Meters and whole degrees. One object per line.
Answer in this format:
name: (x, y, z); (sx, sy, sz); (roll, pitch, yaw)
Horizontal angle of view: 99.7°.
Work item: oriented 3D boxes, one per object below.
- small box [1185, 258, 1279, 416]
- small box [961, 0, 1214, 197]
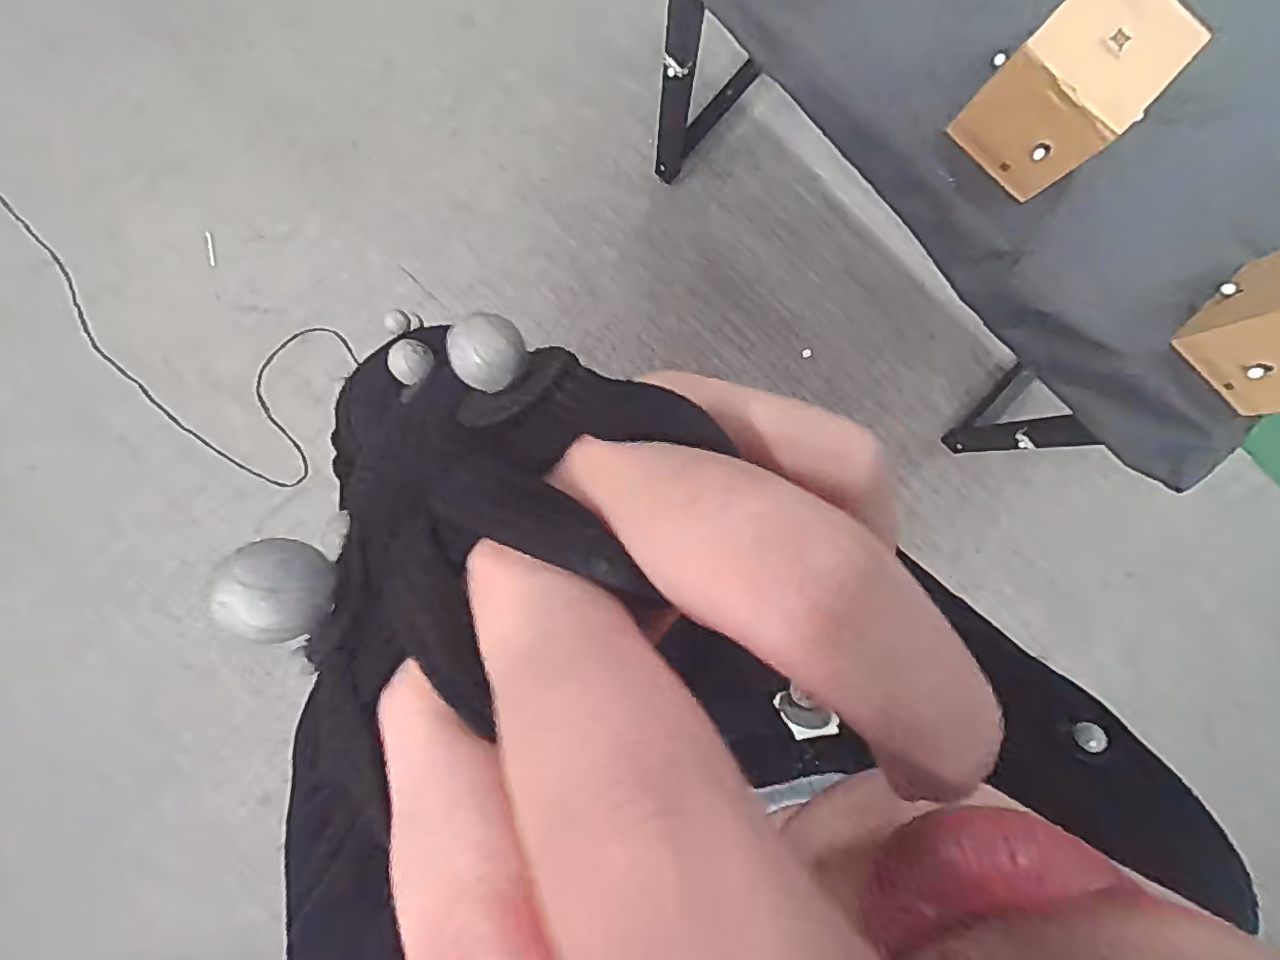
small box: (0.923, -0.208, 0.741); (0.179, 0.176, 0.168); (-44, 89, 0)
small box: (0.579, -0.532, 0.732); (0.168, 0.176, 0.179); (43, 88, -3)
